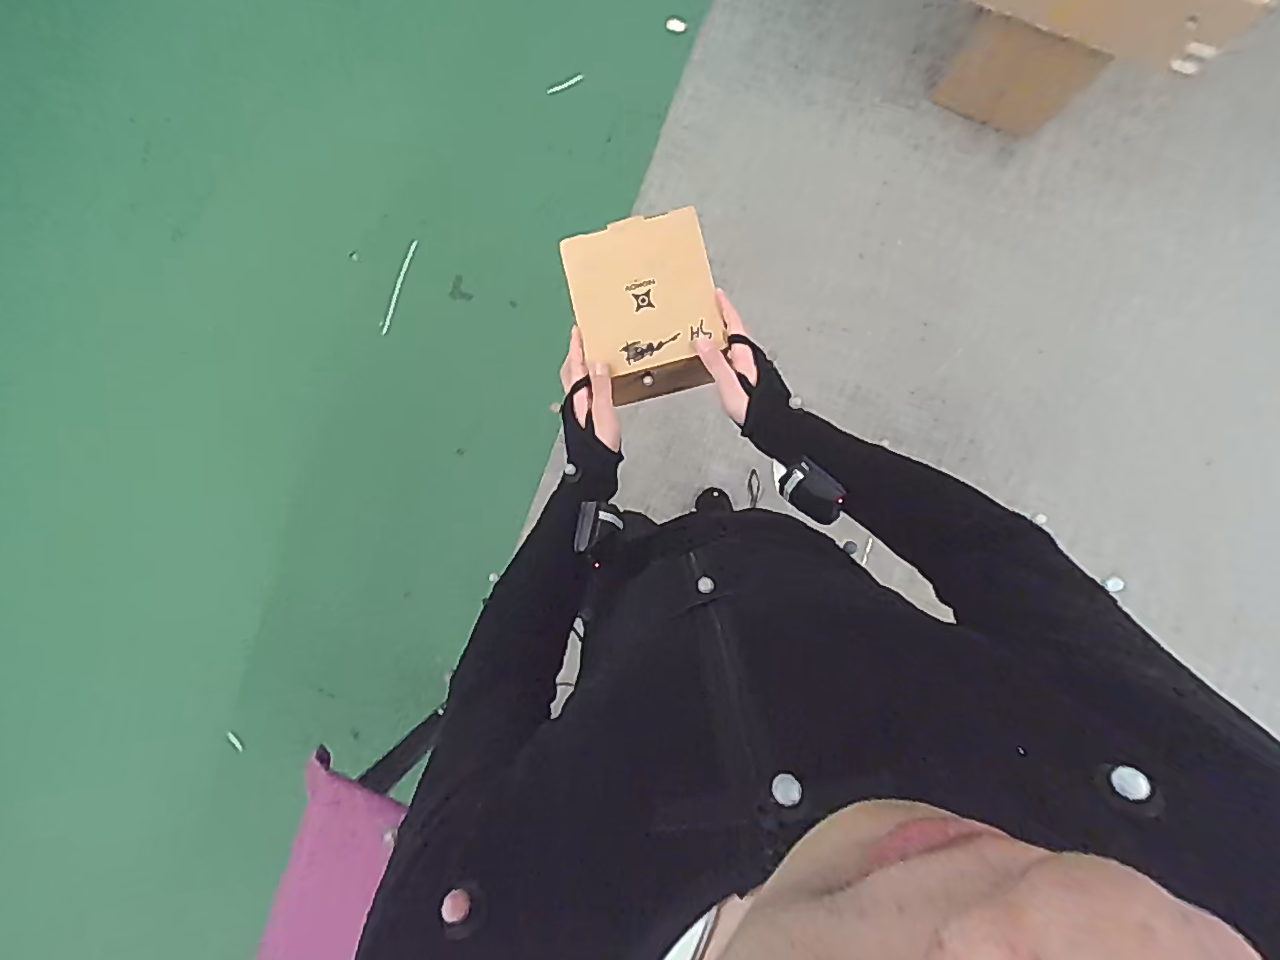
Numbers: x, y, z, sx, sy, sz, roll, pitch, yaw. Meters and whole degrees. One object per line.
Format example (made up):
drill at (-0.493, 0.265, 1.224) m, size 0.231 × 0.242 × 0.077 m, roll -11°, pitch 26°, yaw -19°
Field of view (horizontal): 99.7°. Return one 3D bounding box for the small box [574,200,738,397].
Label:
small box at (0.022, -0.220, 0.700) m, size 0.168 × 0.176 × 0.179 m, roll -12°, pitch 87°, yaw 5°
